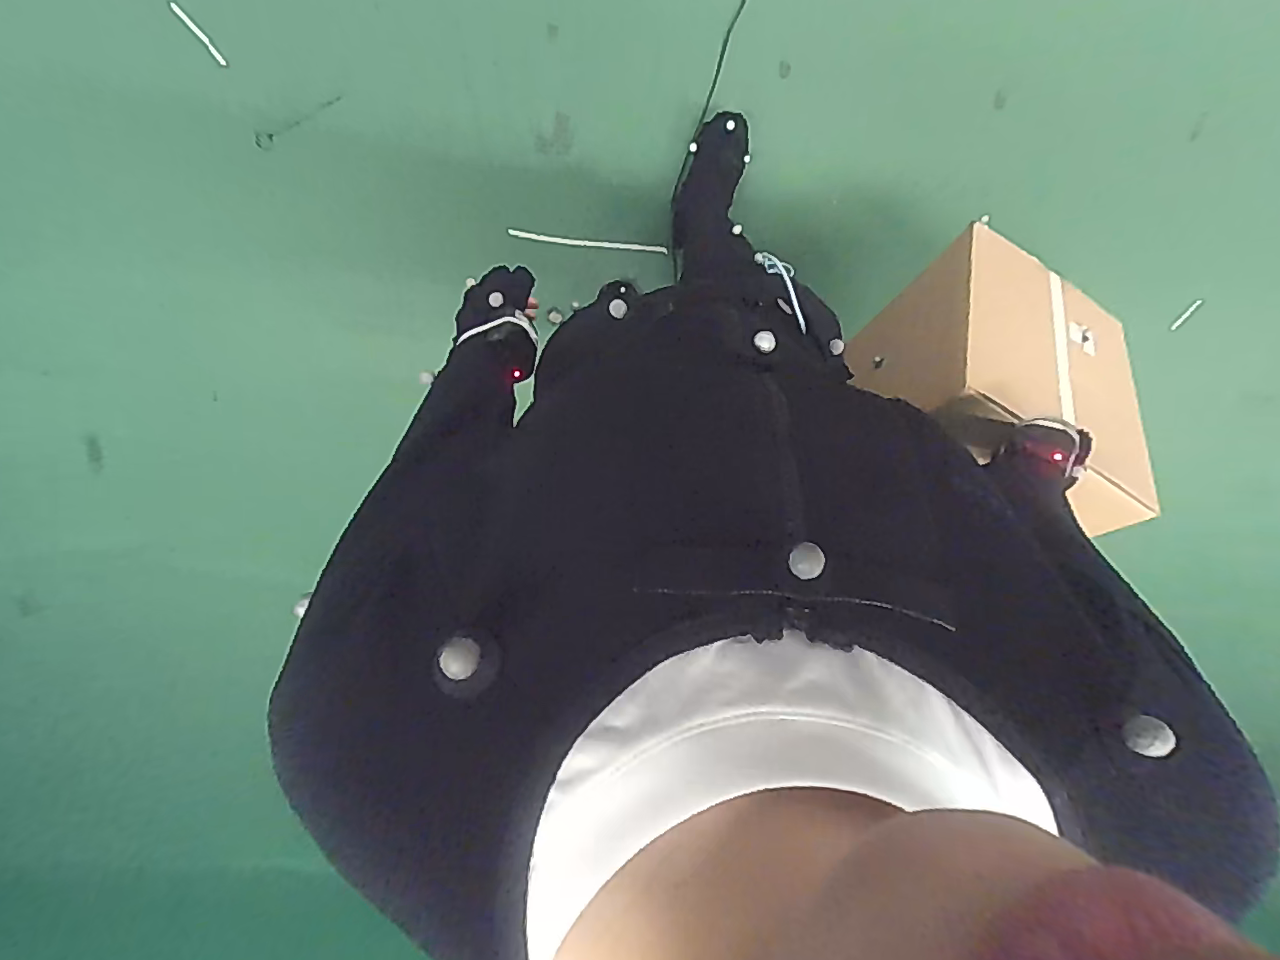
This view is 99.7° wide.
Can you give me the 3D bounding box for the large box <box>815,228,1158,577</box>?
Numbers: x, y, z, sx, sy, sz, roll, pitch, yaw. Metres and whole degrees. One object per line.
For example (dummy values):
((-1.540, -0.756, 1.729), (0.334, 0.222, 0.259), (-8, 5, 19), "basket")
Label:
((0.532, -0.115, 0.891), (0.320, 0.408, 0.320), (31, 145, -7), "large box")
